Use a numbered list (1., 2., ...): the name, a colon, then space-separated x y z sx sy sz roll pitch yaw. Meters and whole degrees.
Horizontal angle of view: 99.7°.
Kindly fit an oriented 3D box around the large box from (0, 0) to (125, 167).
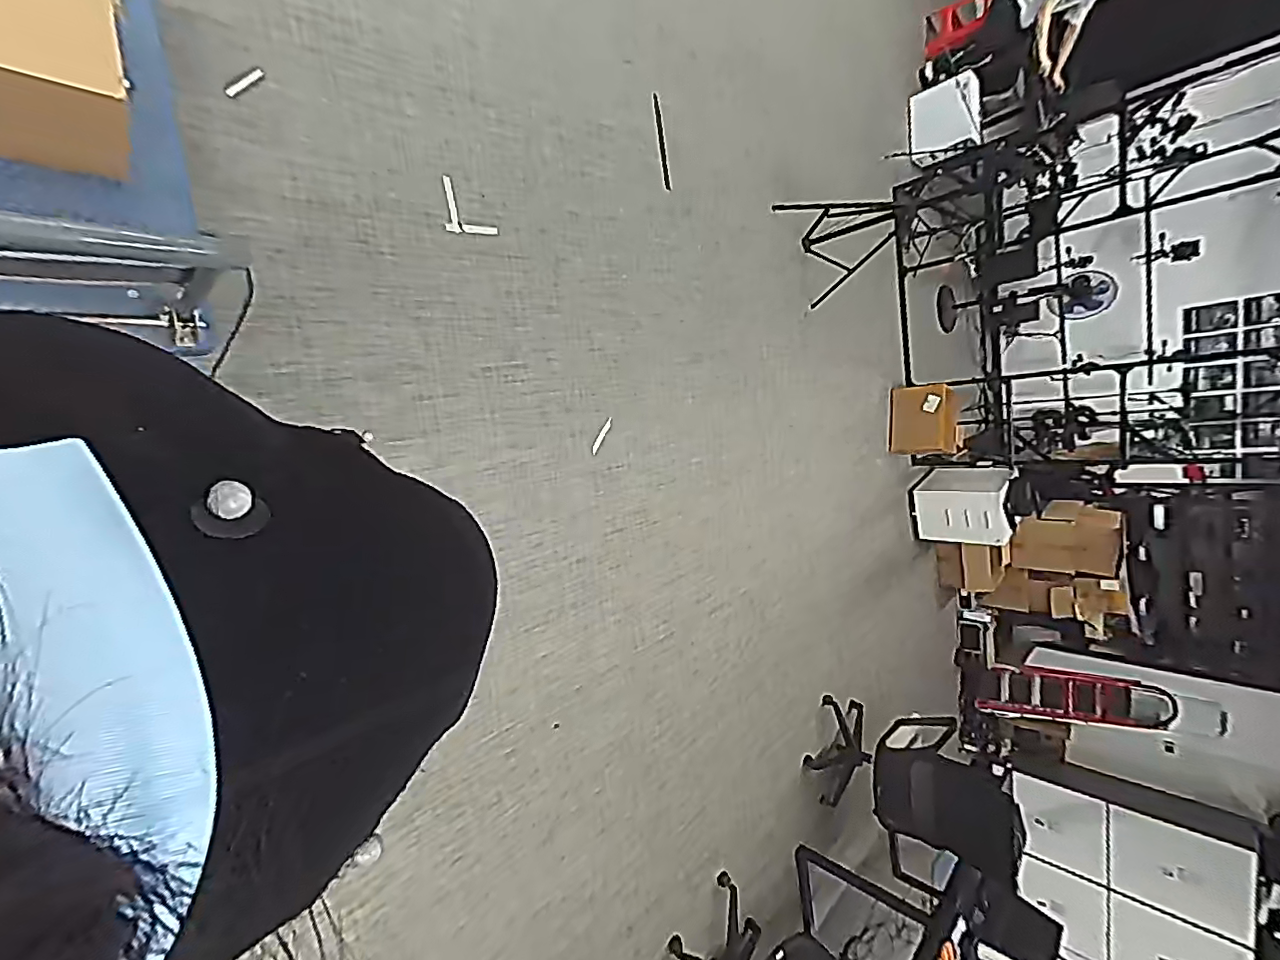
1. large box: -0.979 -0.671 0.710 0.408 0.320 0.320 -10 97 -43
